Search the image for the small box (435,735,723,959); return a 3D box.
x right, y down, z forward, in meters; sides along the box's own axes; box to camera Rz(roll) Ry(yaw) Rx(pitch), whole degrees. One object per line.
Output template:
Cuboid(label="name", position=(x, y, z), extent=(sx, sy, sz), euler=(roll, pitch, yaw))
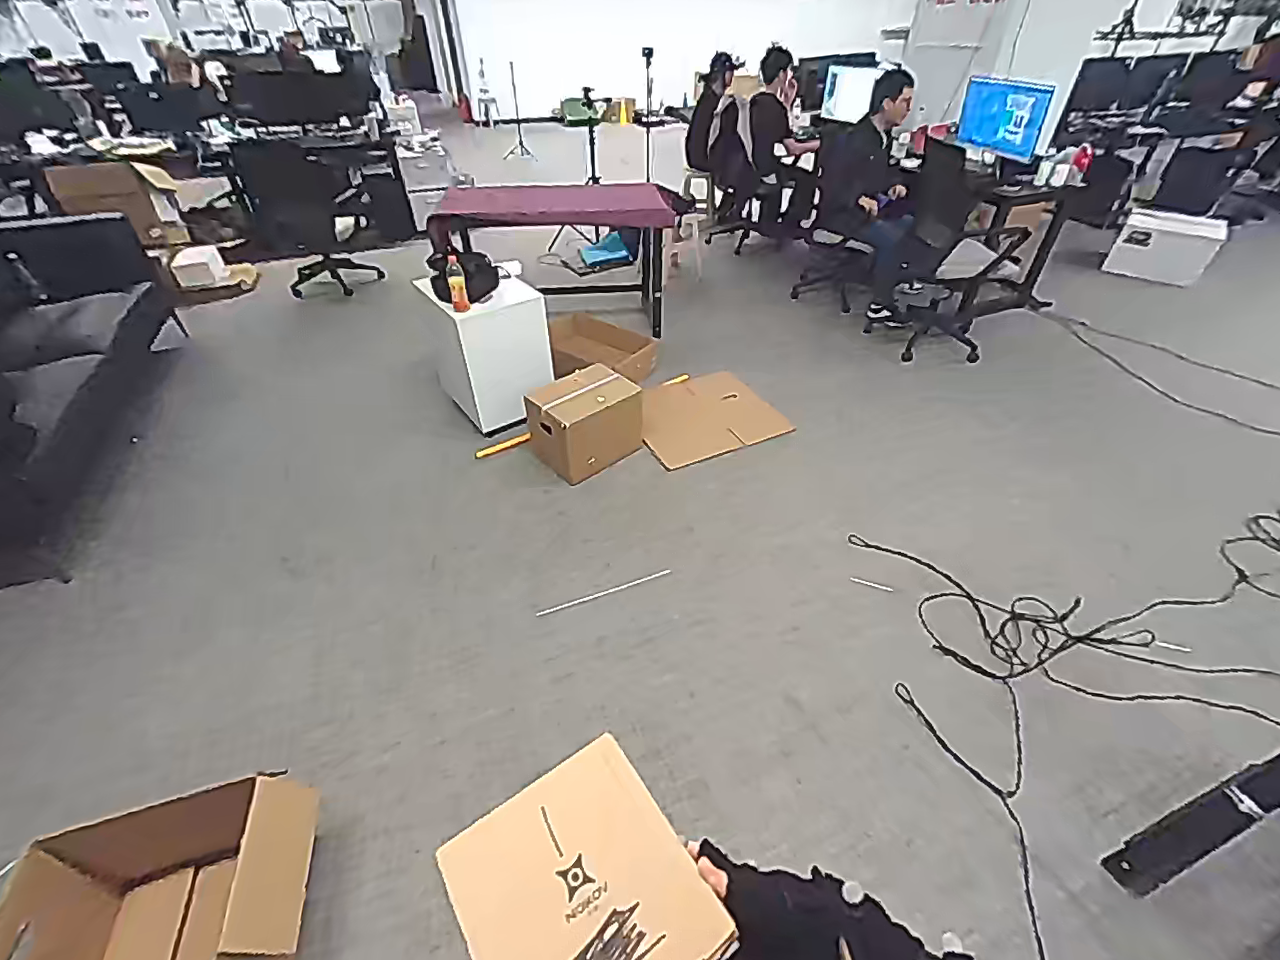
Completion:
Cuboid(label="small box", position=(-0.050, 0.371, 0.469), extent=(0.168, 0.176, 0.179), euler=(-25, 47, -25))
